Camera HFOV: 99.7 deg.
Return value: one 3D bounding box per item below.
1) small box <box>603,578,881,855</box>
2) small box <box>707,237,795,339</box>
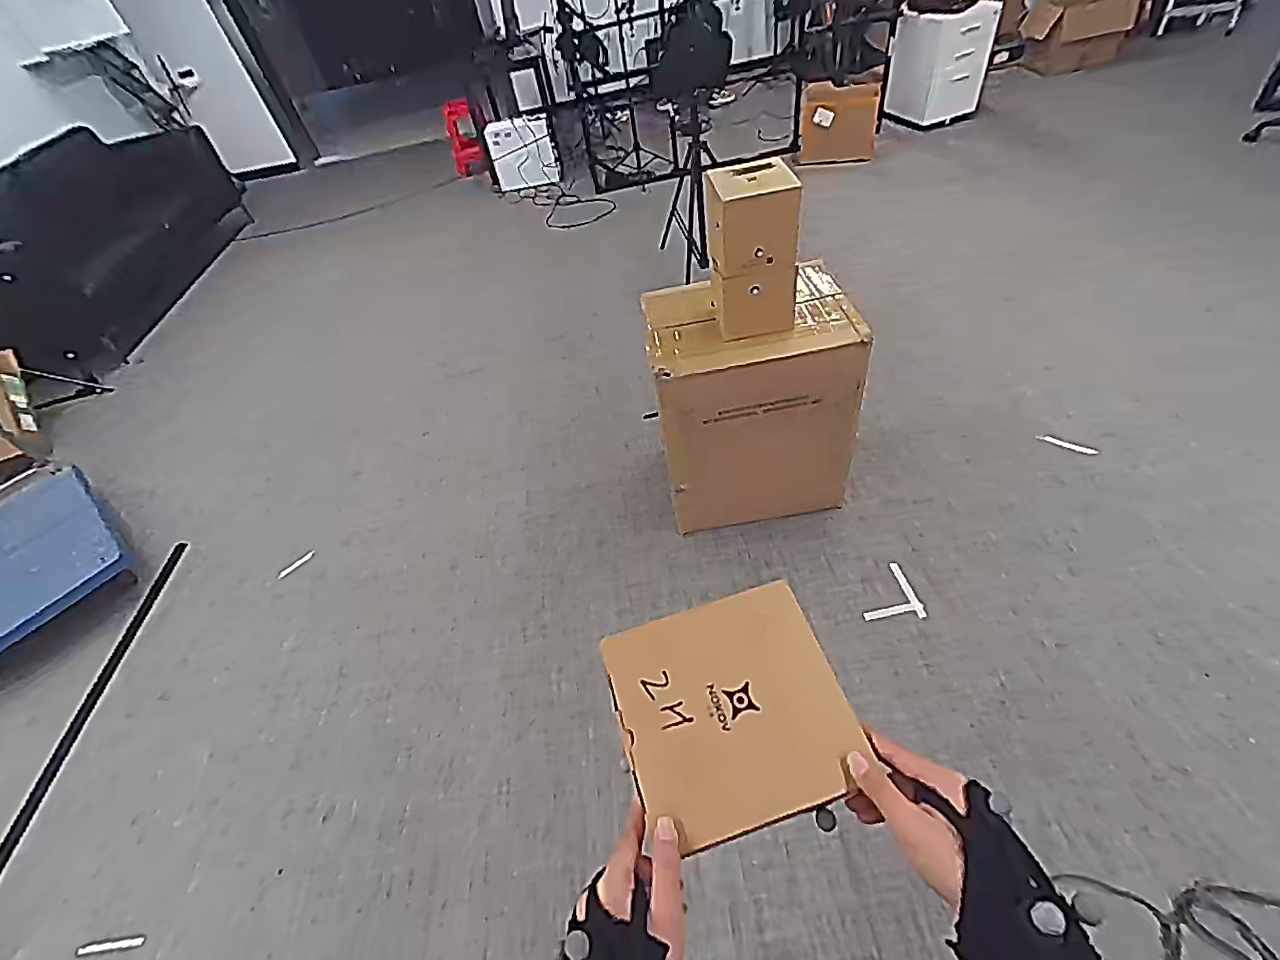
[{"bbox_3d":[0.077,0.217,0.490,0.179,0.176,0.168,-16,54,-6],"label":"small box"},{"bbox_3d":[0.268,-0.463,1.319,0.179,0.176,0.168,-10,47,2],"label":"small box"}]
